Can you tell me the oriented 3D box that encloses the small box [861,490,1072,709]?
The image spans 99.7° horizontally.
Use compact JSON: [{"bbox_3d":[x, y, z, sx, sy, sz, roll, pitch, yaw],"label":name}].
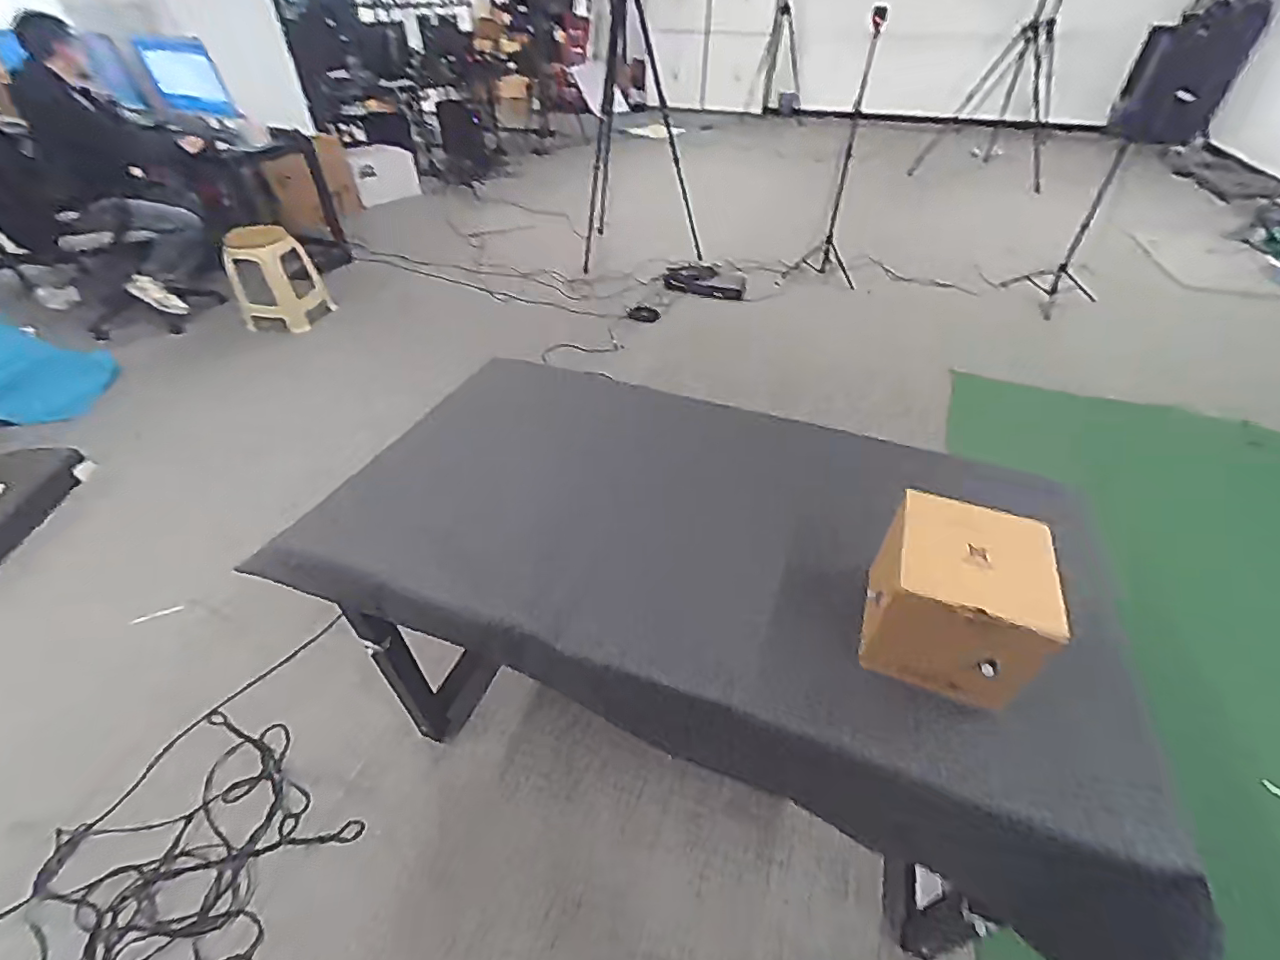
[{"bbox_3d":[0.384,0.146,0.666,0.168,0.176,0.179,17,43,16],"label":"small box"}]
